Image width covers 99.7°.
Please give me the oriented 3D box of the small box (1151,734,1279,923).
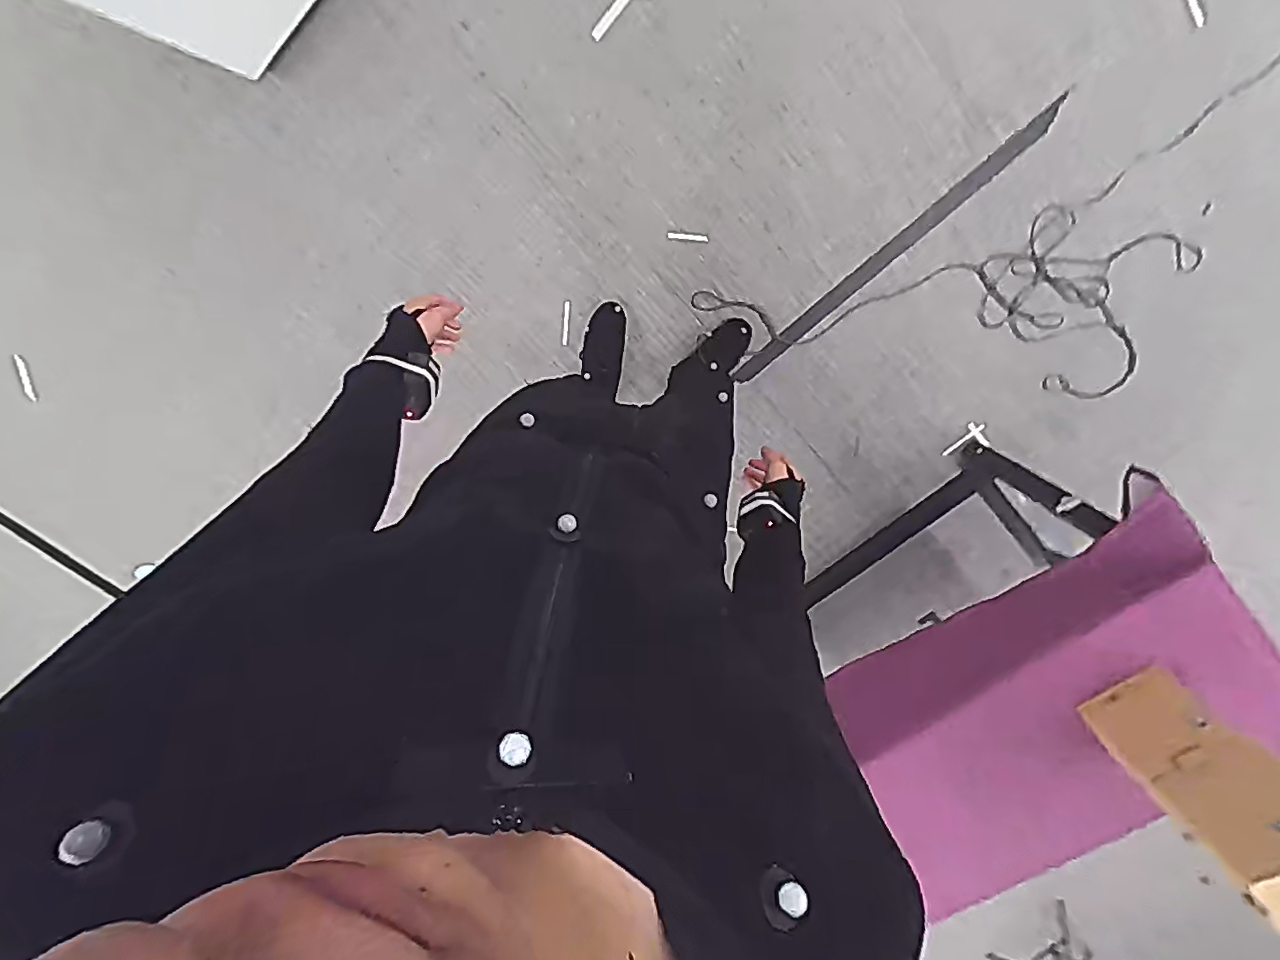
[{"bbox_3d":[0.998,0.550,0.868,0.179,0.176,0.168,-38,108,15],"label":"small box"}]
